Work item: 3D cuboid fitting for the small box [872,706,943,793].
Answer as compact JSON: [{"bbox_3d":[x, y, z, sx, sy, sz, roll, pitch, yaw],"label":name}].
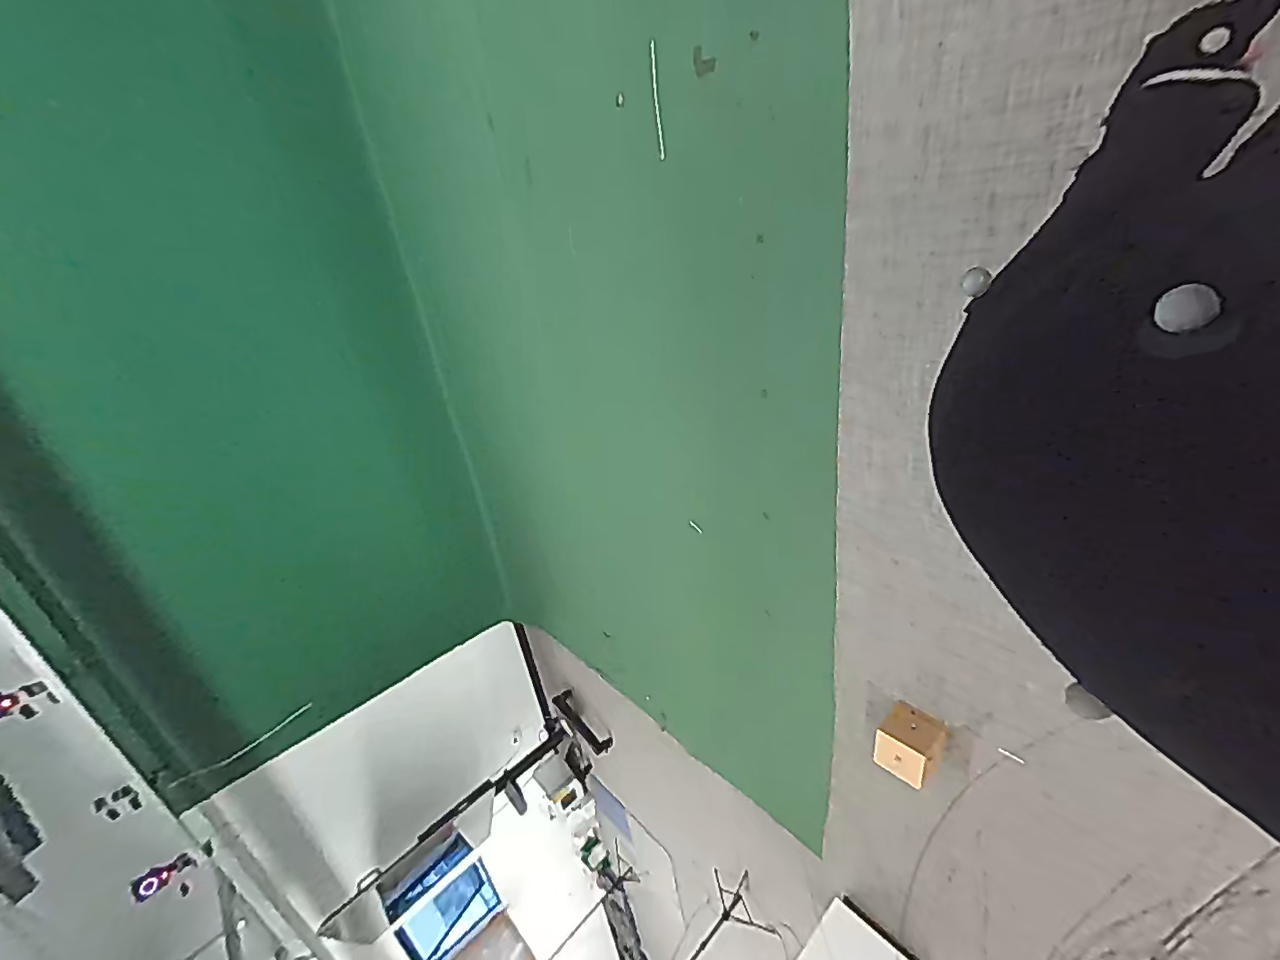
[{"bbox_3d":[0.940,0.935,1.895,0.168,0.176,0.179,22,128,45],"label":"small box"}]
